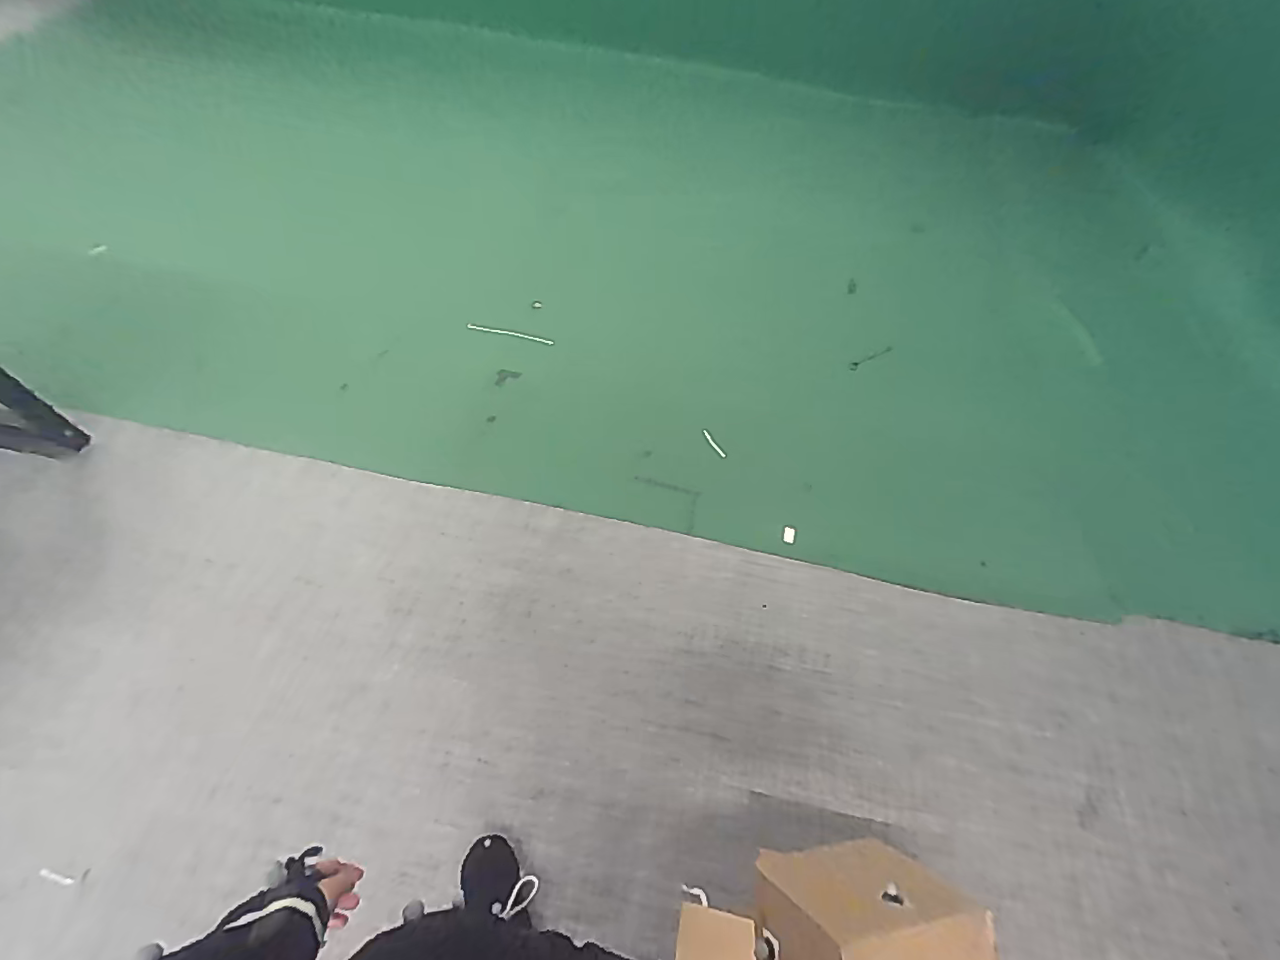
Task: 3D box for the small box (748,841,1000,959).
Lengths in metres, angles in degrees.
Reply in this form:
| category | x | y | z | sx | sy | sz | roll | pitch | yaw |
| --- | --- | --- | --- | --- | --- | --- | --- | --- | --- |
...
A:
| category | x | y | z | sx | sy | sz | roll | pitch | yaw |
| --- | --- | --- | --- | --- | --- | --- | --- | --- | --- |
| small box | 0.230 | 0.494 | 0.544 | 0.179 | 0.176 | 0.168 | 2 | 76 | -17 |
